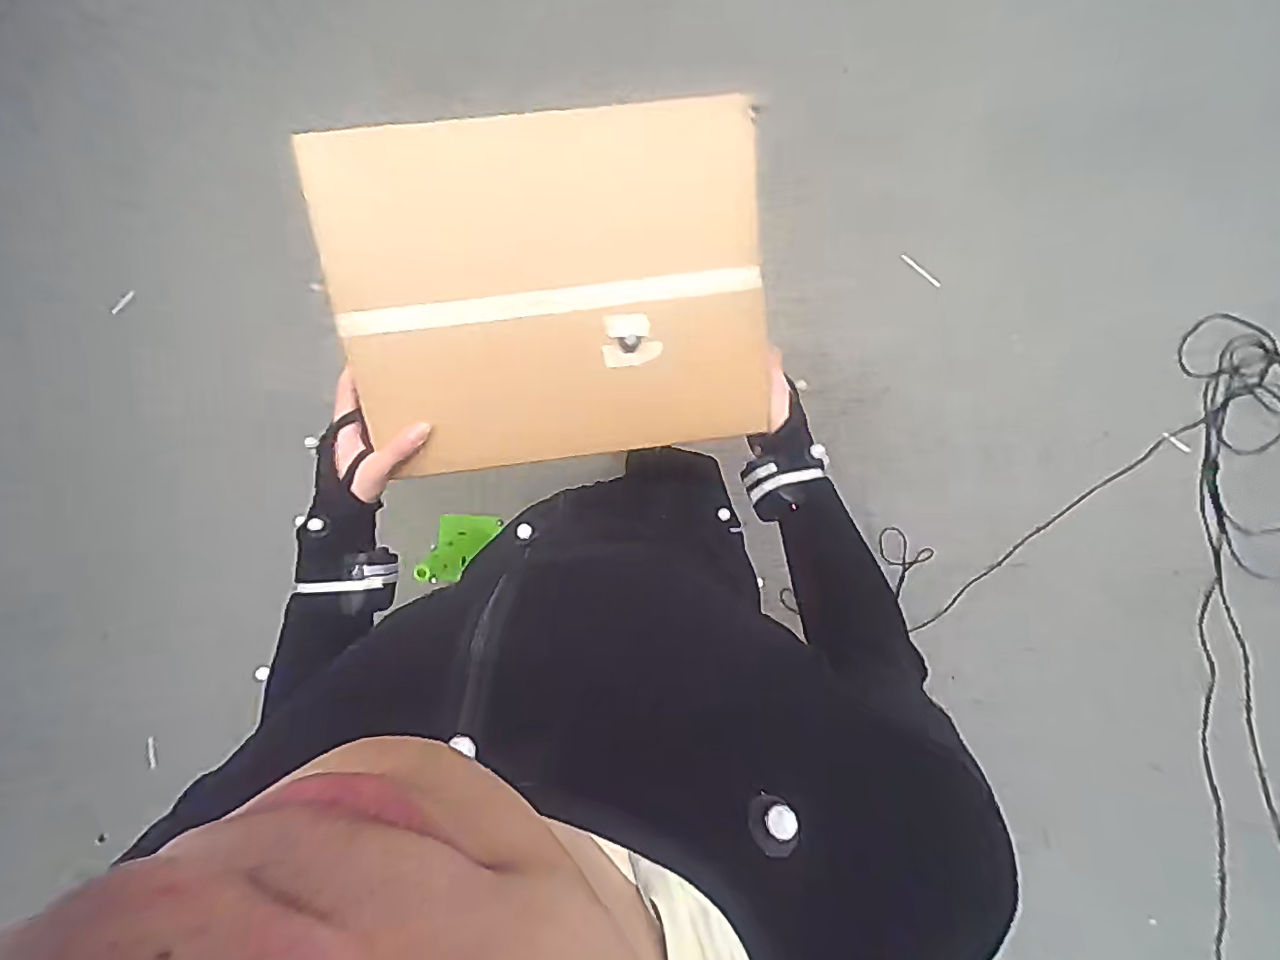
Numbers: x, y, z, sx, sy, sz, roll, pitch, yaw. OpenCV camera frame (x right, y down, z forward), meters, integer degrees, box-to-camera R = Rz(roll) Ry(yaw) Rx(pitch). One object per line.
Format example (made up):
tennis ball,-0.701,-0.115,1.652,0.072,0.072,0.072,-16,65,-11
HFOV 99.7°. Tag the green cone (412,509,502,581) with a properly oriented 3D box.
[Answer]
green cone,-0.526,0.204,1.471,0.200,0.368,0.202,3,94,2

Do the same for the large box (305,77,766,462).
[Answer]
large box,-0.096,-0.233,0.665,0.408,0.320,0.320,-8,108,-4
